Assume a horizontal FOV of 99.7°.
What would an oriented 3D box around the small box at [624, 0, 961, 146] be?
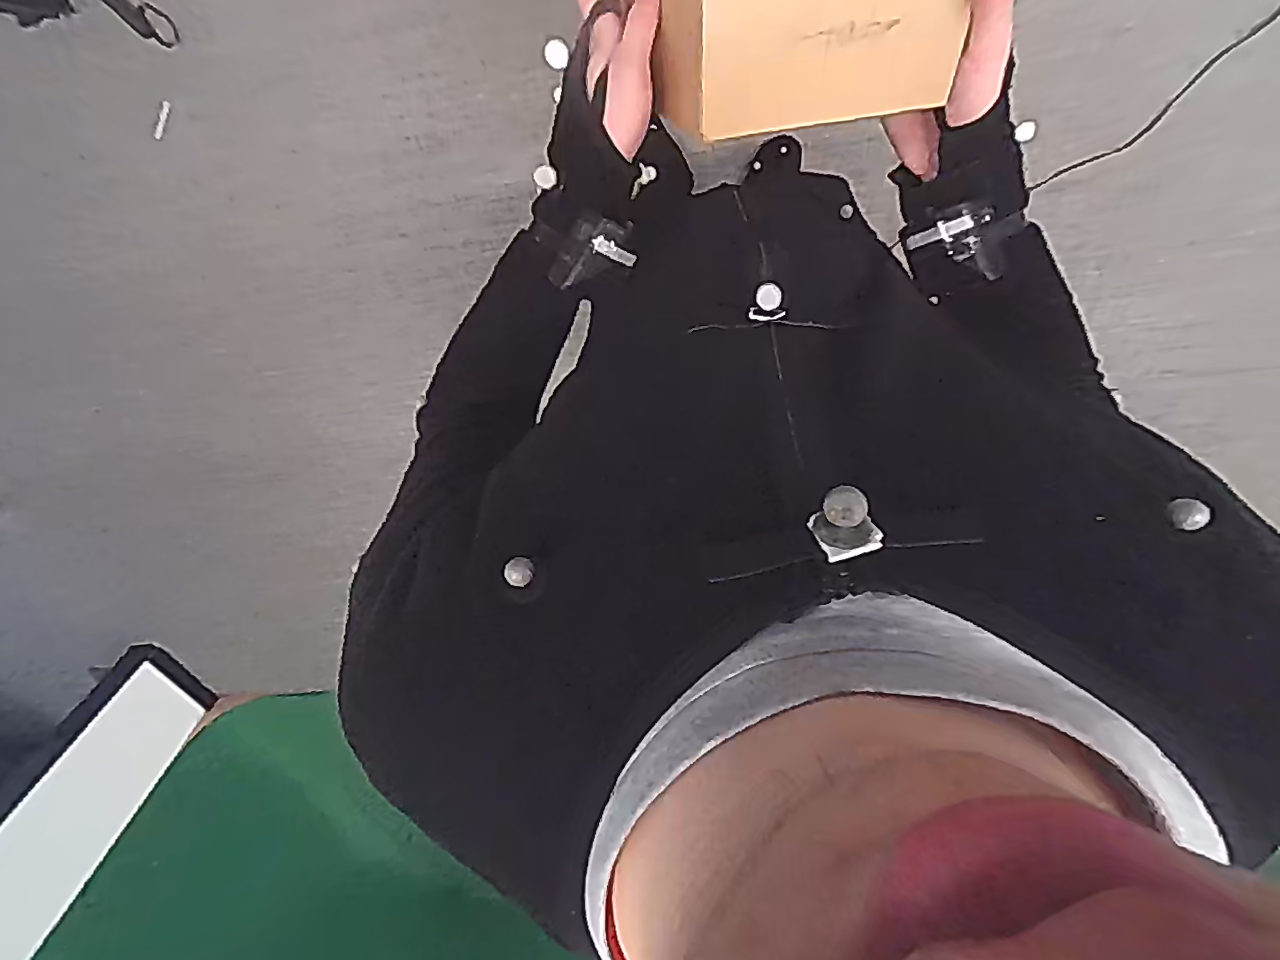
[{"bbox_3d":[0.083,-0.332,0.335,0.168,0.176,0.179,-12,134,-7],"label":"small box"}]
